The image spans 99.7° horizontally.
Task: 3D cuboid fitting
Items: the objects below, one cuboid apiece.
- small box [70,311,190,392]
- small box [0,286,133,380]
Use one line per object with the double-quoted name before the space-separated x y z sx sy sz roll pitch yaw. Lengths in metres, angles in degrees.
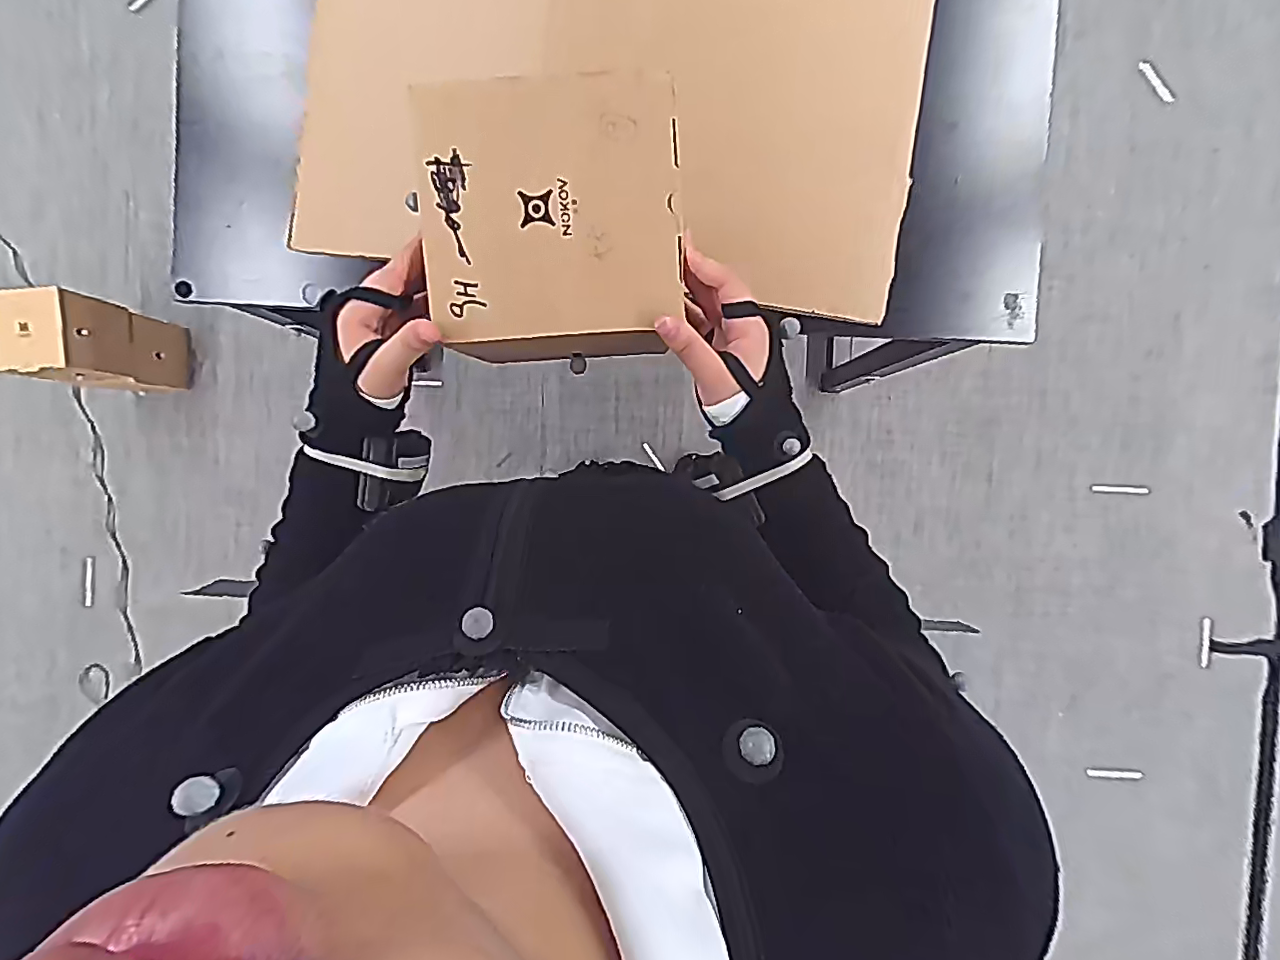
"small box" -1.322 -0.329 1.407 0.168 0.176 0.179 -1 93 0
"small box" -1.323 -0.329 1.244 0.168 0.176 0.179 -4 91 0
